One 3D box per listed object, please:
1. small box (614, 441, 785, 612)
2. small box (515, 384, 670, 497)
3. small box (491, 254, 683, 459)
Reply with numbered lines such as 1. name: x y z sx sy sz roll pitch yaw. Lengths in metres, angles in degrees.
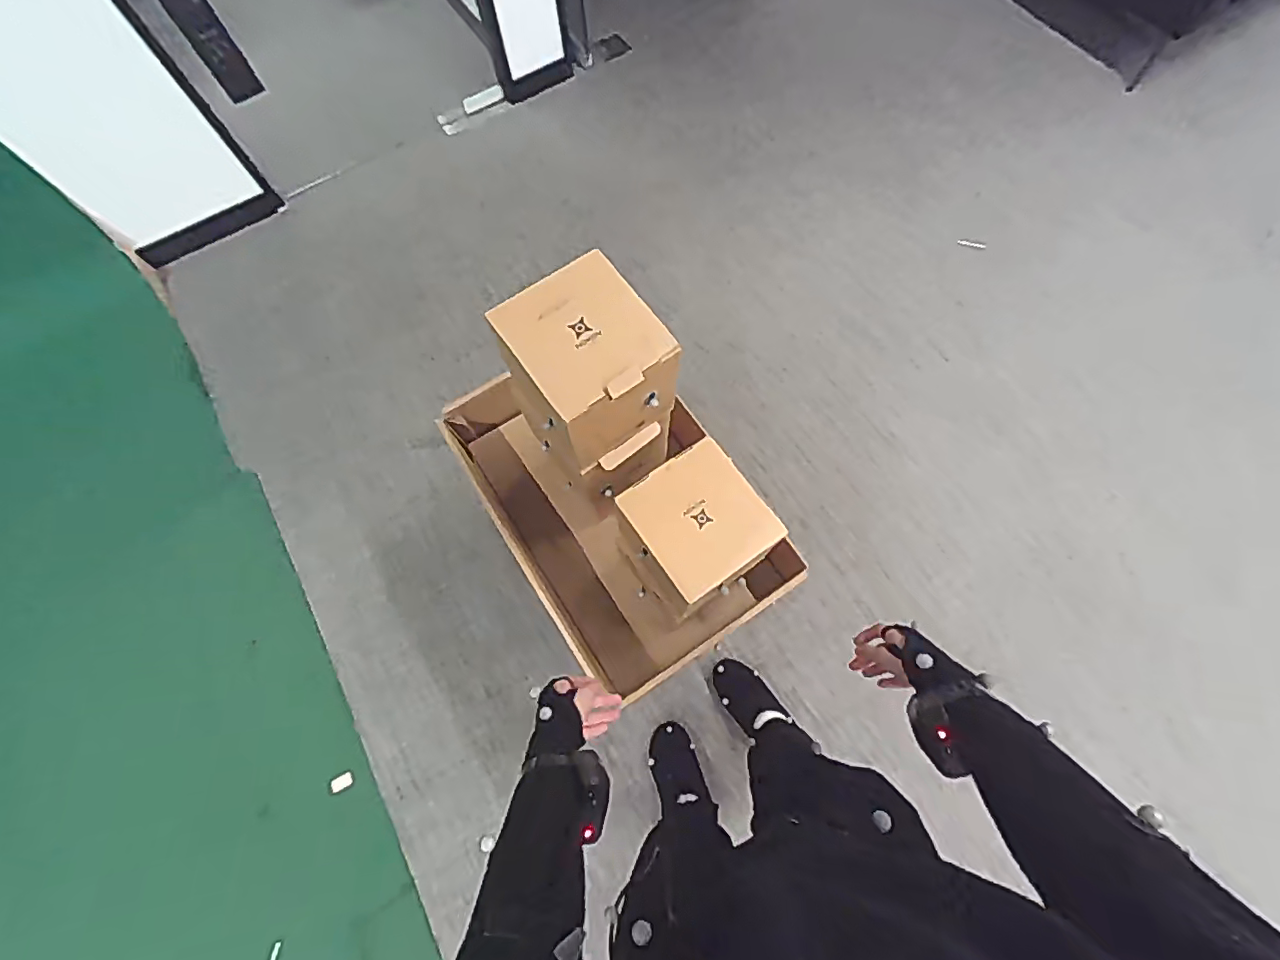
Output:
1. small box: 0.081 0.079 0.794 0.168 0.176 0.179 -33 72 -10
2. small box: -0.069 -0.091 0.861 0.168 0.176 0.179 -37 75 -11
3. small box: -0.063 -0.146 0.708 0.168 0.176 0.179 -34 75 -11
